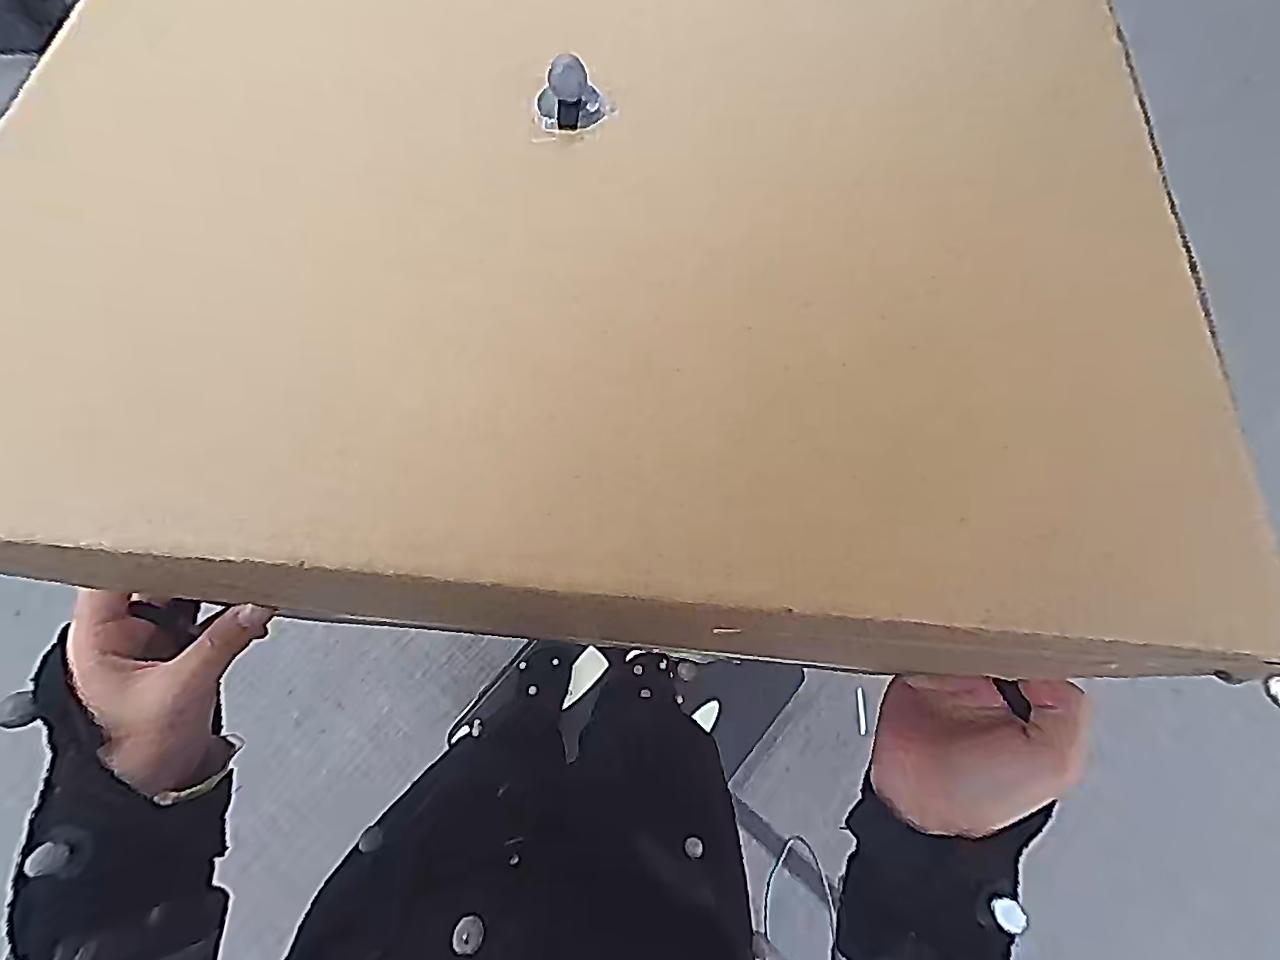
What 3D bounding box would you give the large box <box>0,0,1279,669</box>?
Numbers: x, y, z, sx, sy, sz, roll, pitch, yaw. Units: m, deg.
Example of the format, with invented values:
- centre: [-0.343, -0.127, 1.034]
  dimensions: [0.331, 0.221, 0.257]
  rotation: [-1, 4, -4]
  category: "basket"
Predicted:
- centre: [-0.032, -0.070, 0.326]
  dimensions: [0.408, 0.320, 0.320]
  rotation: [4, 72, 3]
  category: "large box"
